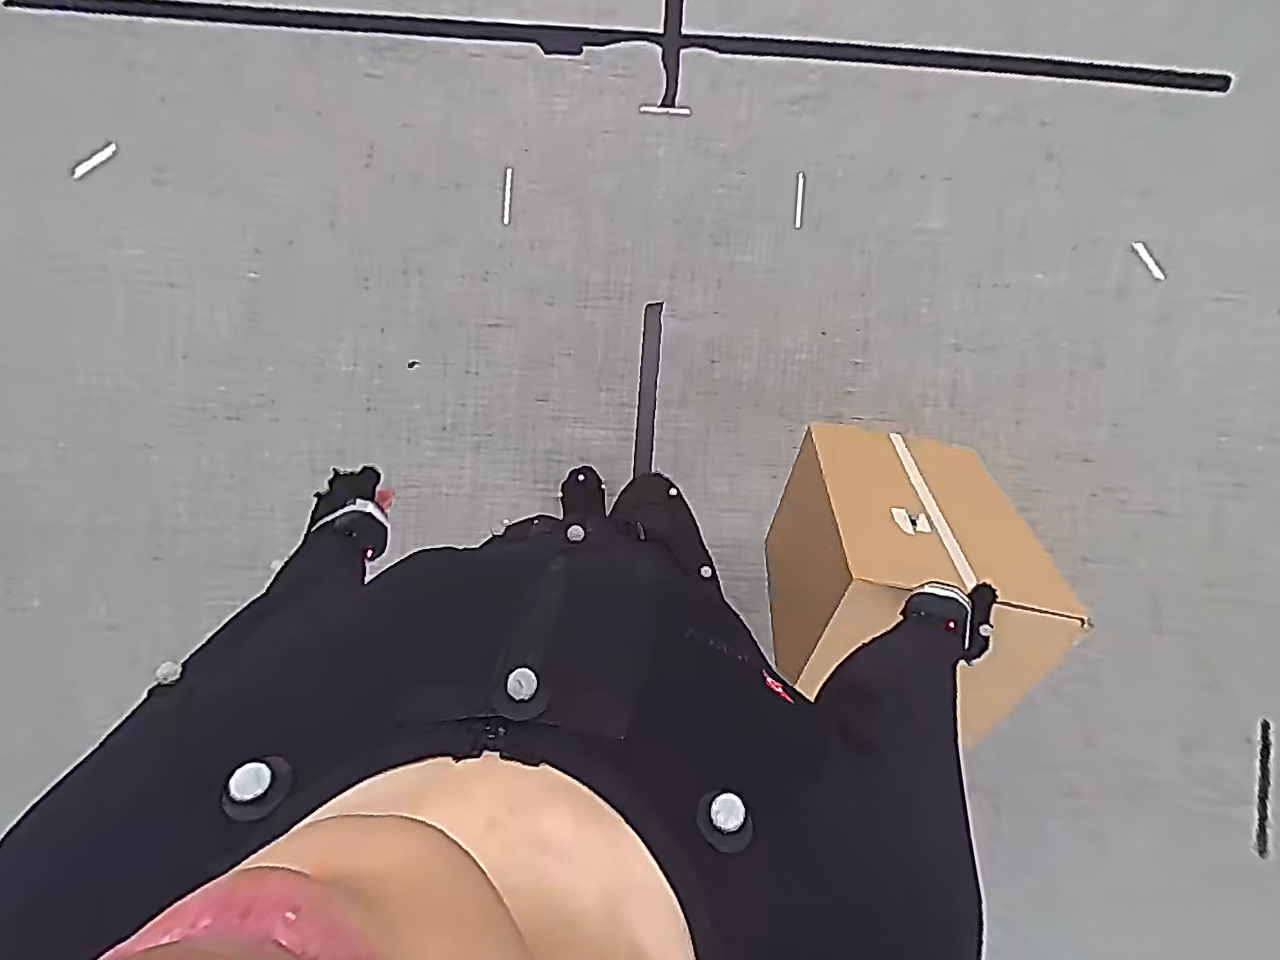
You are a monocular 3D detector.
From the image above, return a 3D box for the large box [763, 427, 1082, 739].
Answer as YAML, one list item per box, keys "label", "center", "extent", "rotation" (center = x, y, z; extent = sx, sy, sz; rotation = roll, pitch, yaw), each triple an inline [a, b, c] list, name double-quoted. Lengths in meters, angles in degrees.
- label: "large box"
  center: [0.421, 0.162, 0.945]
  extent: [0.320, 0.408, 0.320]
  rotation: [10, 127, 0]
